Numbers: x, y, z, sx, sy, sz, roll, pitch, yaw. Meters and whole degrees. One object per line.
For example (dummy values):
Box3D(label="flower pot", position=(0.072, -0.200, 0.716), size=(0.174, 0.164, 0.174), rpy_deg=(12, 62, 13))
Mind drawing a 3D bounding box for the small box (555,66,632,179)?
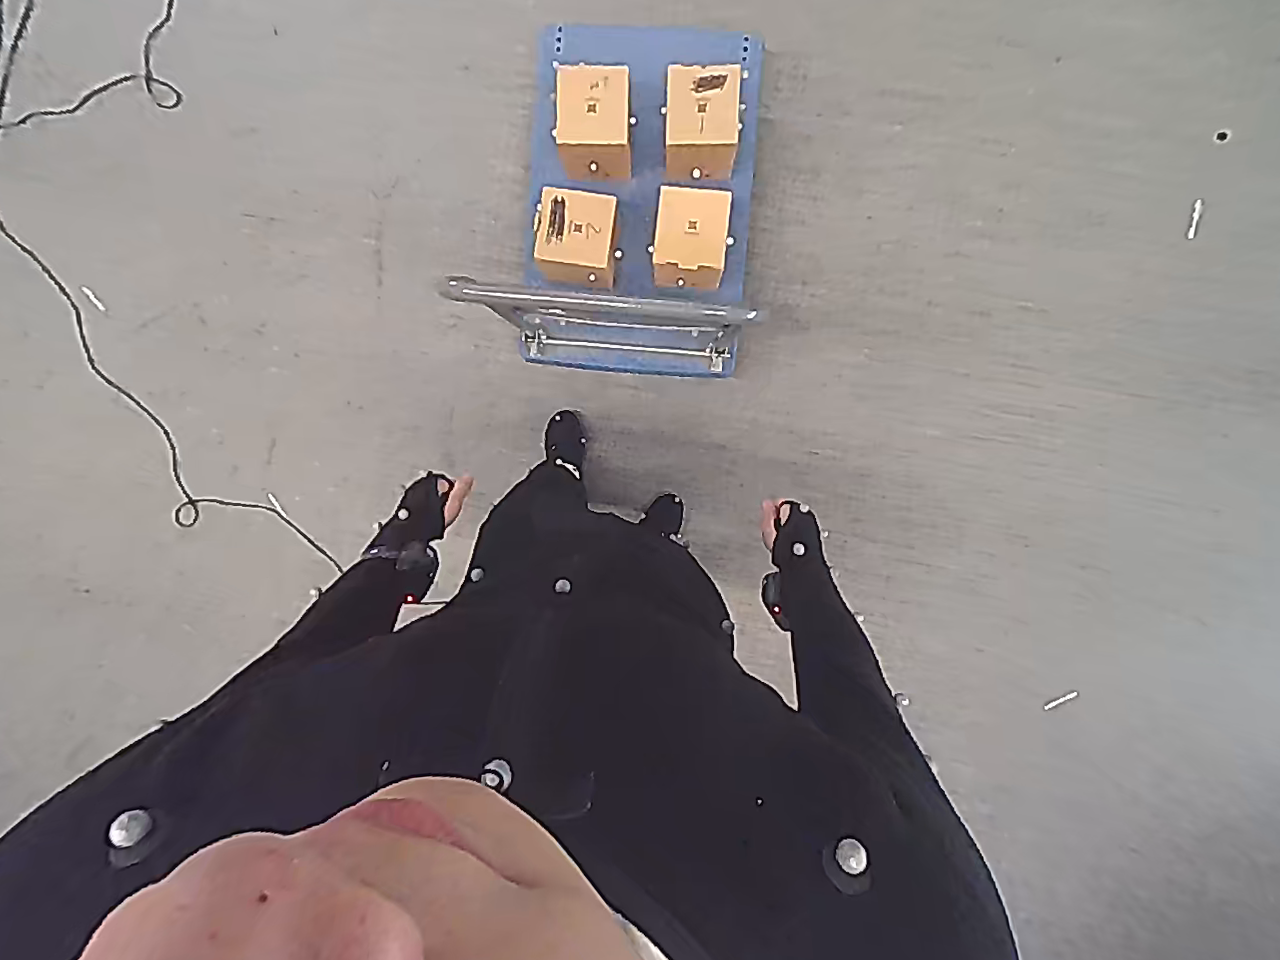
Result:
Box3D(label="small box", position=(-0.107, -0.858, 1.313), size=(0.168, 0.176, 0.179), rpy_deg=(2, 93, 2))

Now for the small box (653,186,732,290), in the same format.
Box3D(label="small box", position=(0.122, -0.583, 1.320), size=(0.168, 0.176, 0.179), rpy_deg=(6, 94, 2))

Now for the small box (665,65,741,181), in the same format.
Box3D(label="small box", position=(0.146, -0.852, 1.301), size=(0.168, 0.176, 0.179), rpy_deg=(2, 95, 3))
